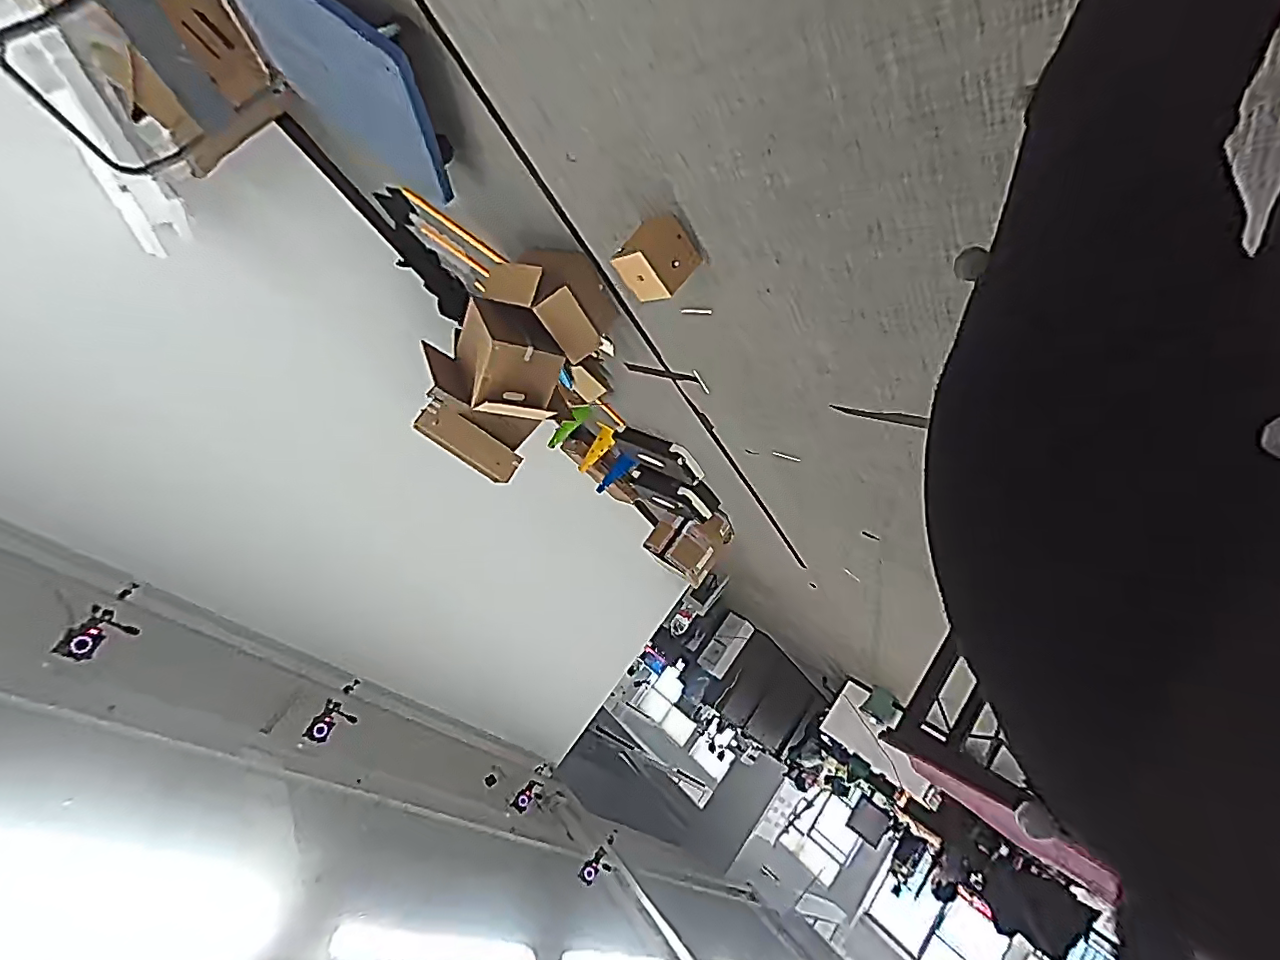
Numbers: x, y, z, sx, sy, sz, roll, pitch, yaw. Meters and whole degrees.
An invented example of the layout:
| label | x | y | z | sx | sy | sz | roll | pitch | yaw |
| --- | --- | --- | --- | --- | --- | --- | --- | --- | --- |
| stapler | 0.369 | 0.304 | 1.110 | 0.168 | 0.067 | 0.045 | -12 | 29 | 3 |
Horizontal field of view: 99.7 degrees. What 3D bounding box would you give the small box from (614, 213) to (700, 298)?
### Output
| label | x | y | z | sx | sy | sz | roll | pitch | yaw |
| --- | --- | --- | --- | --- | --- | --- | --- | --- | --- |
| small box | 0.059 | -0.680 | 1.644 | 0.168 | 0.176 | 0.179 | 46 | 166 | -31 |
